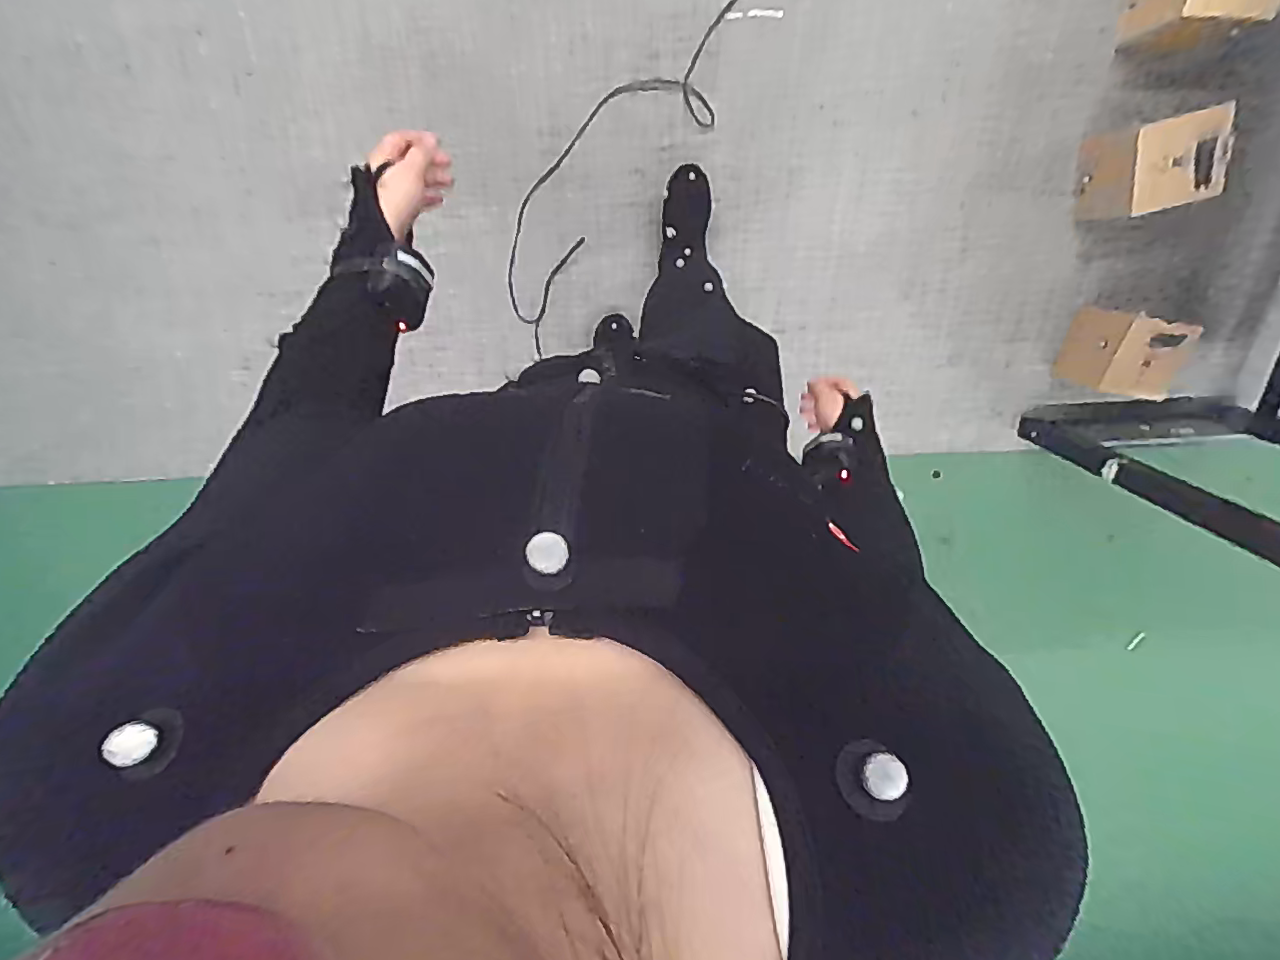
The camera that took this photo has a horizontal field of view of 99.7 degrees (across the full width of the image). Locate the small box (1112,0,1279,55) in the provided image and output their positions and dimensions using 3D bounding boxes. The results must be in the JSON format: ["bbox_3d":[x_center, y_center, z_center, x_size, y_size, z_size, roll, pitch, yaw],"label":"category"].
[{"bbox_3d":[1.076,-0.945,1.038,0.179,0.176,0.168,1,113,-1],"label":"small box"}]

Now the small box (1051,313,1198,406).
[{"bbox_3d":[1.157,-0.299,1.311,0.168,0.176,0.179,10,115,-3],"label":"small box"}]
